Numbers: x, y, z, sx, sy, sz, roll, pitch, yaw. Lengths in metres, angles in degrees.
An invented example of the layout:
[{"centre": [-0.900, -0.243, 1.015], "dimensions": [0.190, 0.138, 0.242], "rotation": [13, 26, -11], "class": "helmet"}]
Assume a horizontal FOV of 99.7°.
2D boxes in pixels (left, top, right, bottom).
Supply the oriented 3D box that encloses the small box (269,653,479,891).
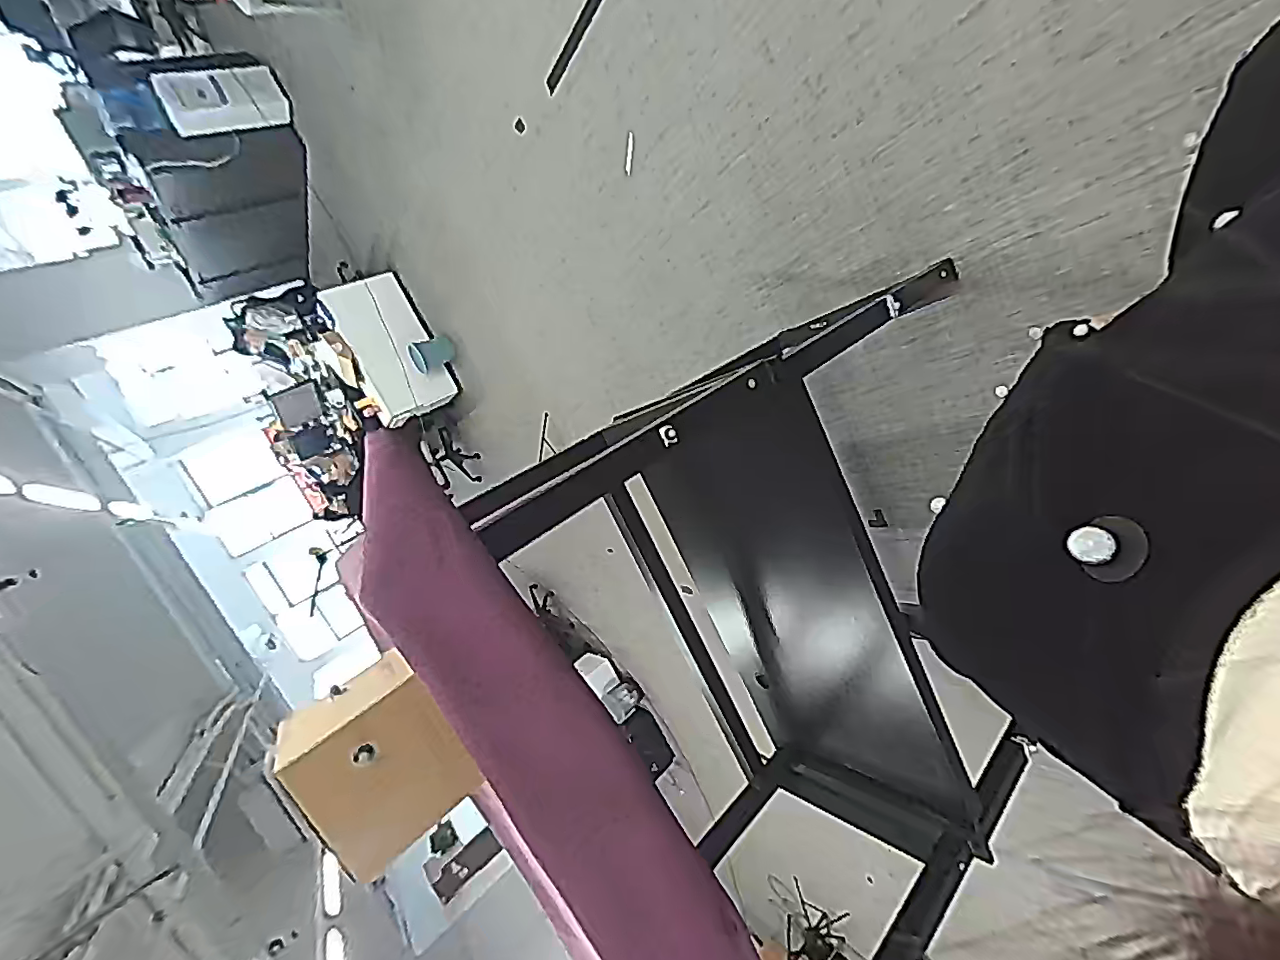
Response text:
[{"centre": [-0.339, 0.353, 0.696], "dimensions": [0.168, 0.176, 0.179], "rotation": [-5, 115, 58], "class": "small box"}]
